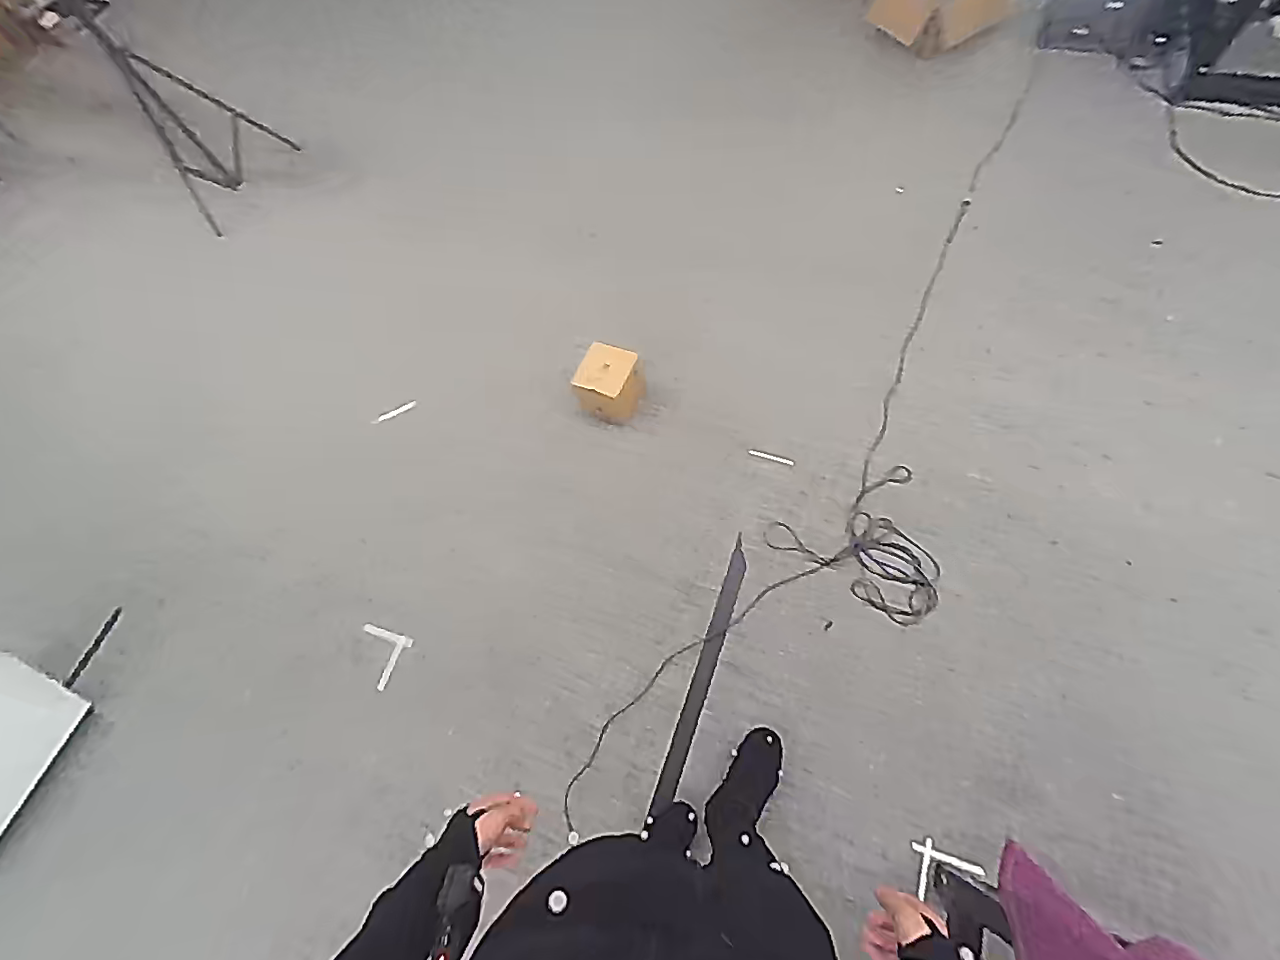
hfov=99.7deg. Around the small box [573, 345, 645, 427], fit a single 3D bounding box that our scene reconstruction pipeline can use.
[{"bbox_3d":[-0.093,-0.305,1.769,0.168,0.176,0.179,20,71,17],"label":"small box"}]
